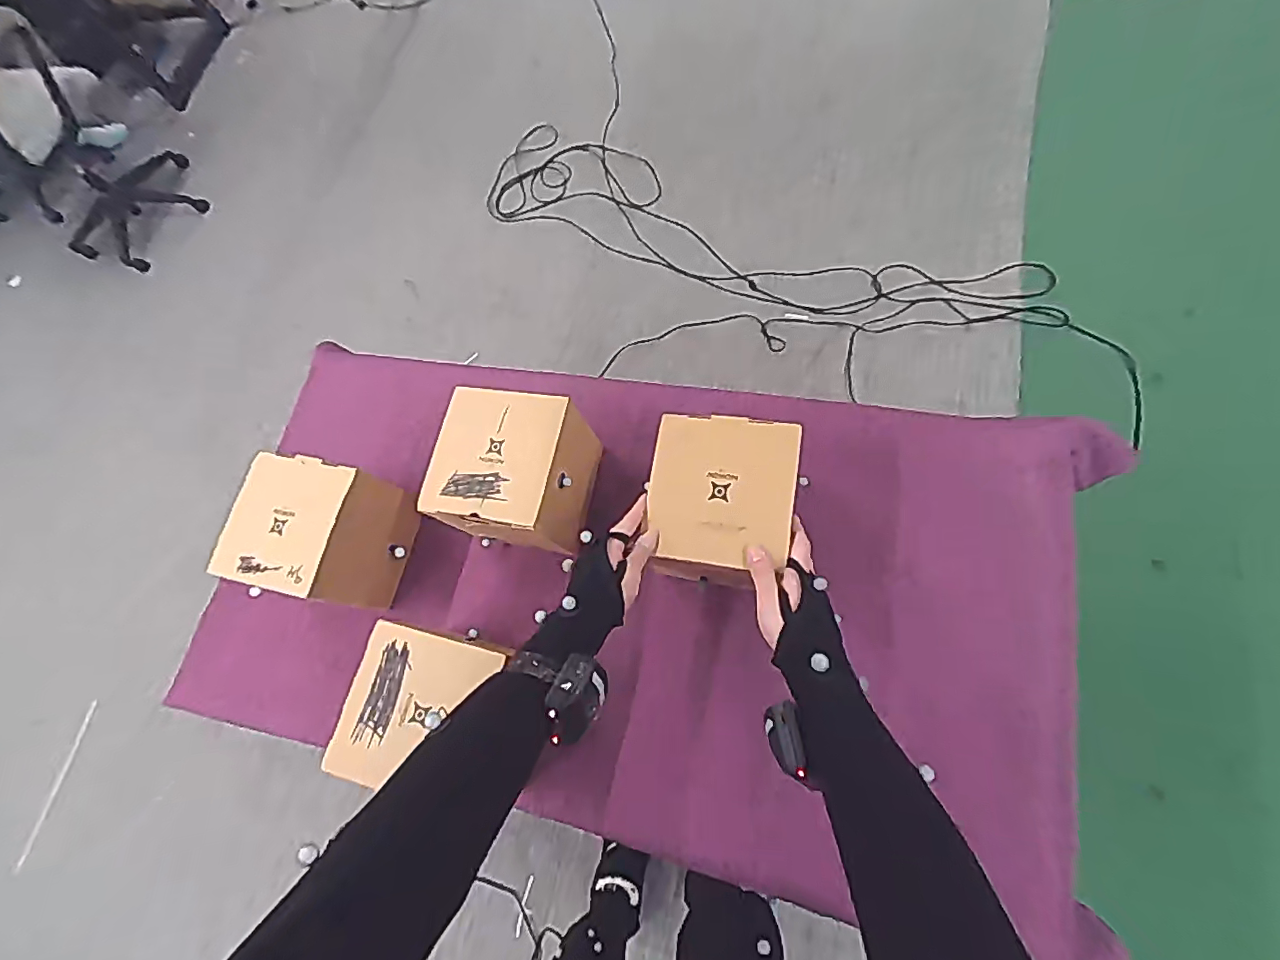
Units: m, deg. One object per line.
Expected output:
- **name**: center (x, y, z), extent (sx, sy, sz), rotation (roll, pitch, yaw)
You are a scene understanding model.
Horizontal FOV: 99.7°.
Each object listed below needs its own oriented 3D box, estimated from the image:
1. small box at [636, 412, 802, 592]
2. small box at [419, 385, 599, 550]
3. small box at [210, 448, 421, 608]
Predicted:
- **small box**: center (0.105, 0.034, 0.685), extent (0.168, 0.176, 0.179), rotation (7, 74, 15)
- **small box**: center (-0.168, -0.010, 0.756), extent (0.168, 0.176, 0.179), rotation (8, 72, 14)
- **small box**: center (-0.450, 0.074, 0.783), extent (0.168, 0.176, 0.179), rotation (9, 73, 16)
